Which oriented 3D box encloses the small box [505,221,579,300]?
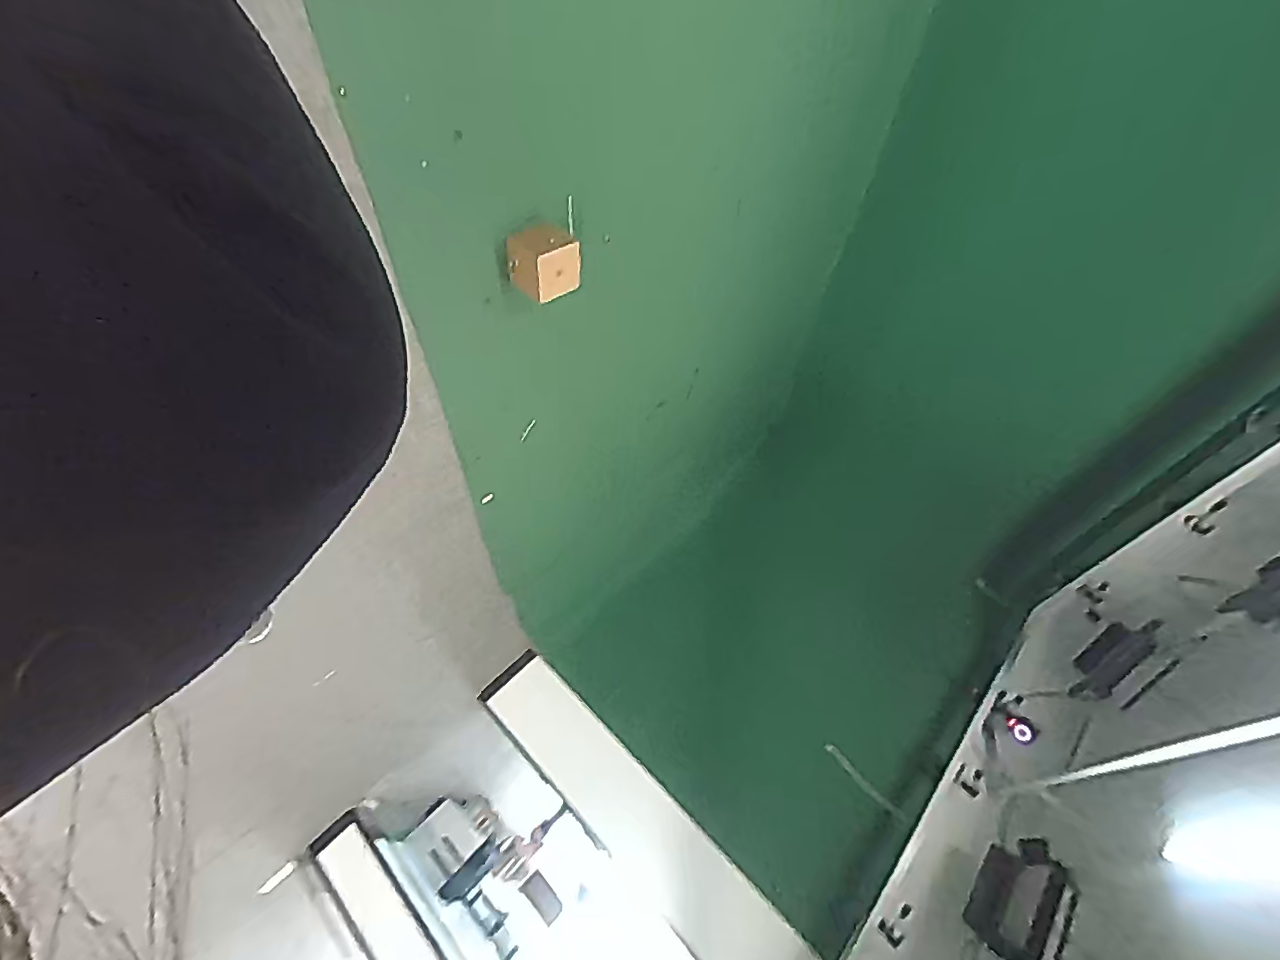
[{"bbox_3d":[-0.321,-0.732,1.792,0.179,0.176,0.168,-36,151,-29],"label":"small box"}]
